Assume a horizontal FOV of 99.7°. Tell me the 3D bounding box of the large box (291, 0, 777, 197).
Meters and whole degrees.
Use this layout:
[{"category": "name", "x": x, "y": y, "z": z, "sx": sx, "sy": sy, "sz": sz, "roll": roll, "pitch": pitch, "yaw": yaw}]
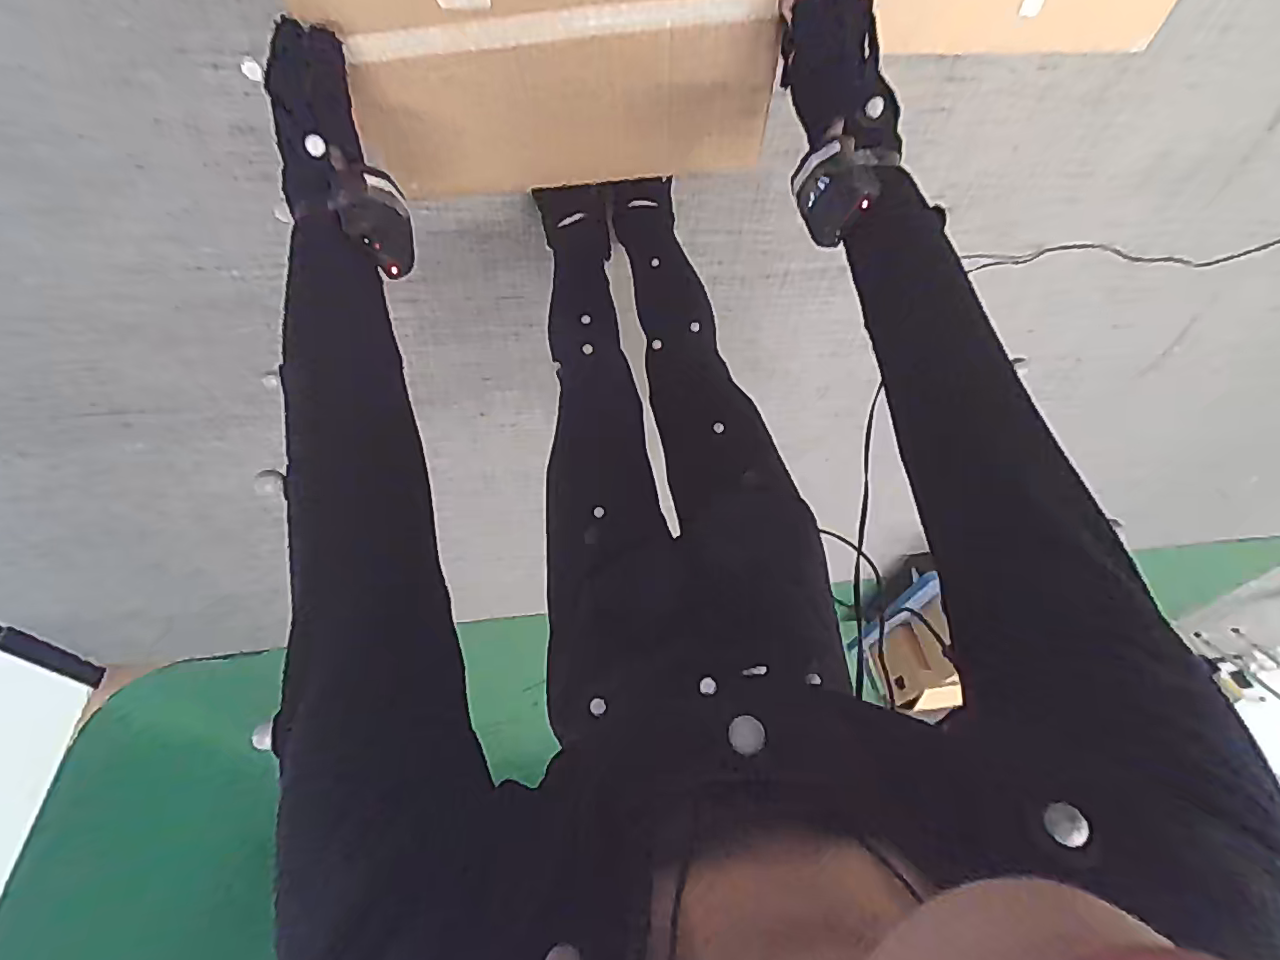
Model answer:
[{"category": "large box", "x": -0.089, "y": -0.526, "z": 0.511, "sx": 0.408, "sy": 0.320, "sz": 0.320, "roll": -5, "pitch": 157, "yaw": 1}]
